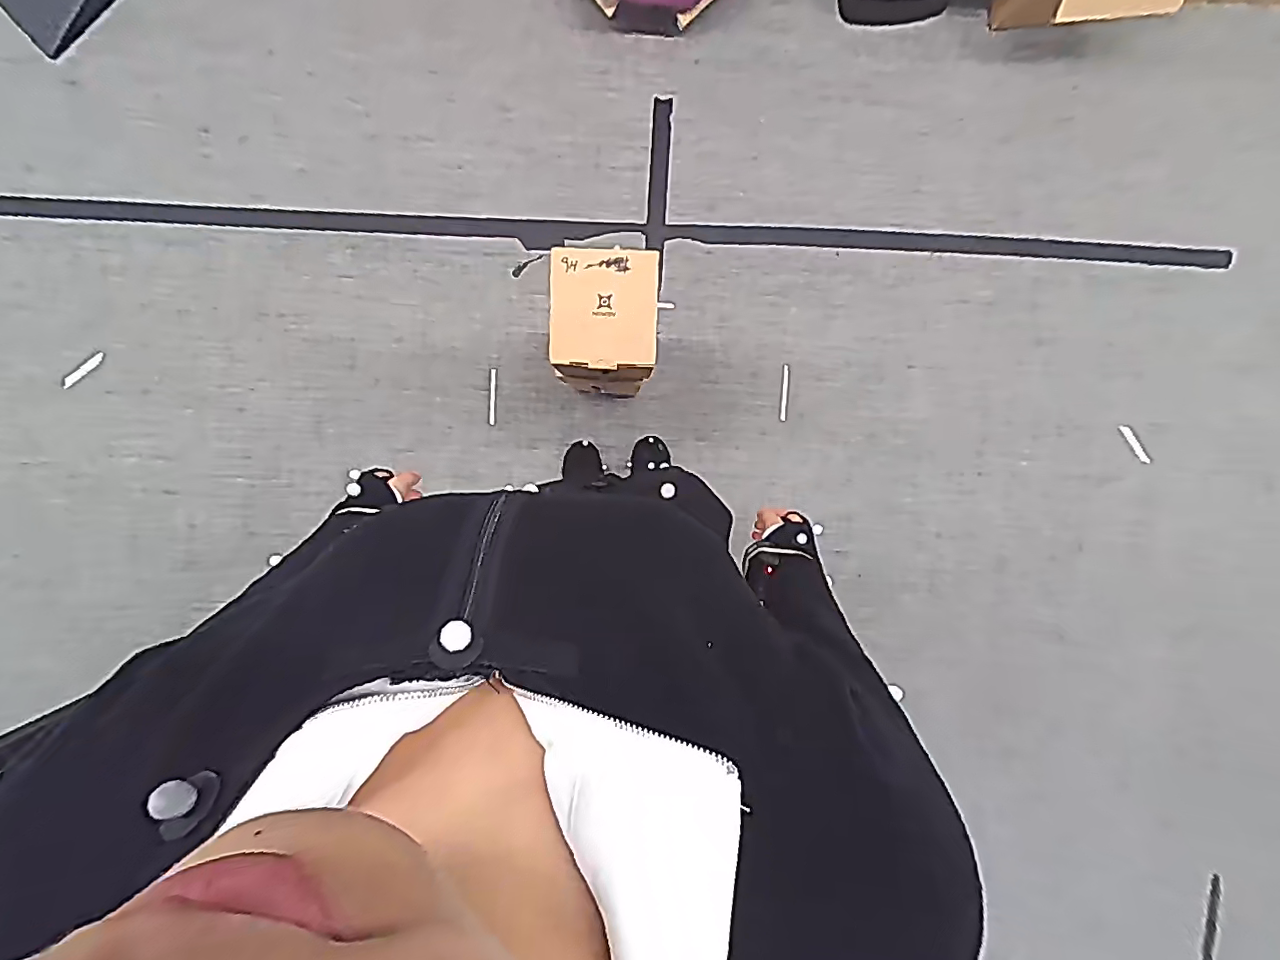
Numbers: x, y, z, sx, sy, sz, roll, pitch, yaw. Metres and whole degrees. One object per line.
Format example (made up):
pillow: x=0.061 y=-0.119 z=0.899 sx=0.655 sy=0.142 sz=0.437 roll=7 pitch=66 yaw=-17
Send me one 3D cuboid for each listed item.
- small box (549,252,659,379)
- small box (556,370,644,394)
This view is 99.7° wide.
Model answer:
small box: x=-0.056 y=-0.264 z=0.904 sx=0.168 sy=0.176 sz=0.179 roll=2 pitch=96 yaw=-1
small box: x=-0.068 y=-0.270 z=1.067 sx=0.168 sy=0.176 sz=0.179 roll=6 pitch=96 yaw=-2
